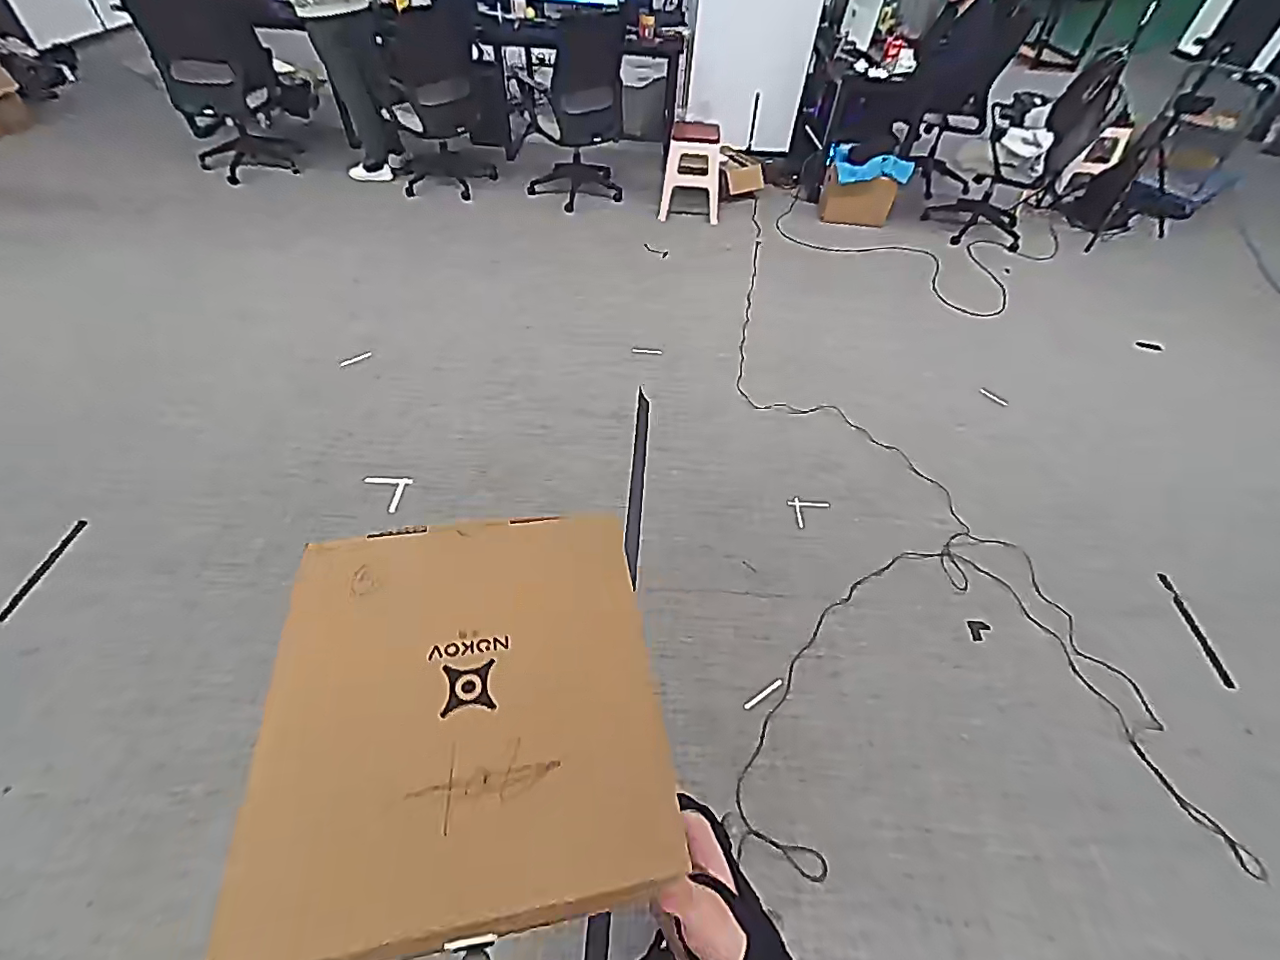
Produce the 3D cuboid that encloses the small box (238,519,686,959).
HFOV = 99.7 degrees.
[{"bbox_3d":[-0.084,0.147,0.314,0.168,0.176,0.179,-6,50,-11],"label":"small box"}]
